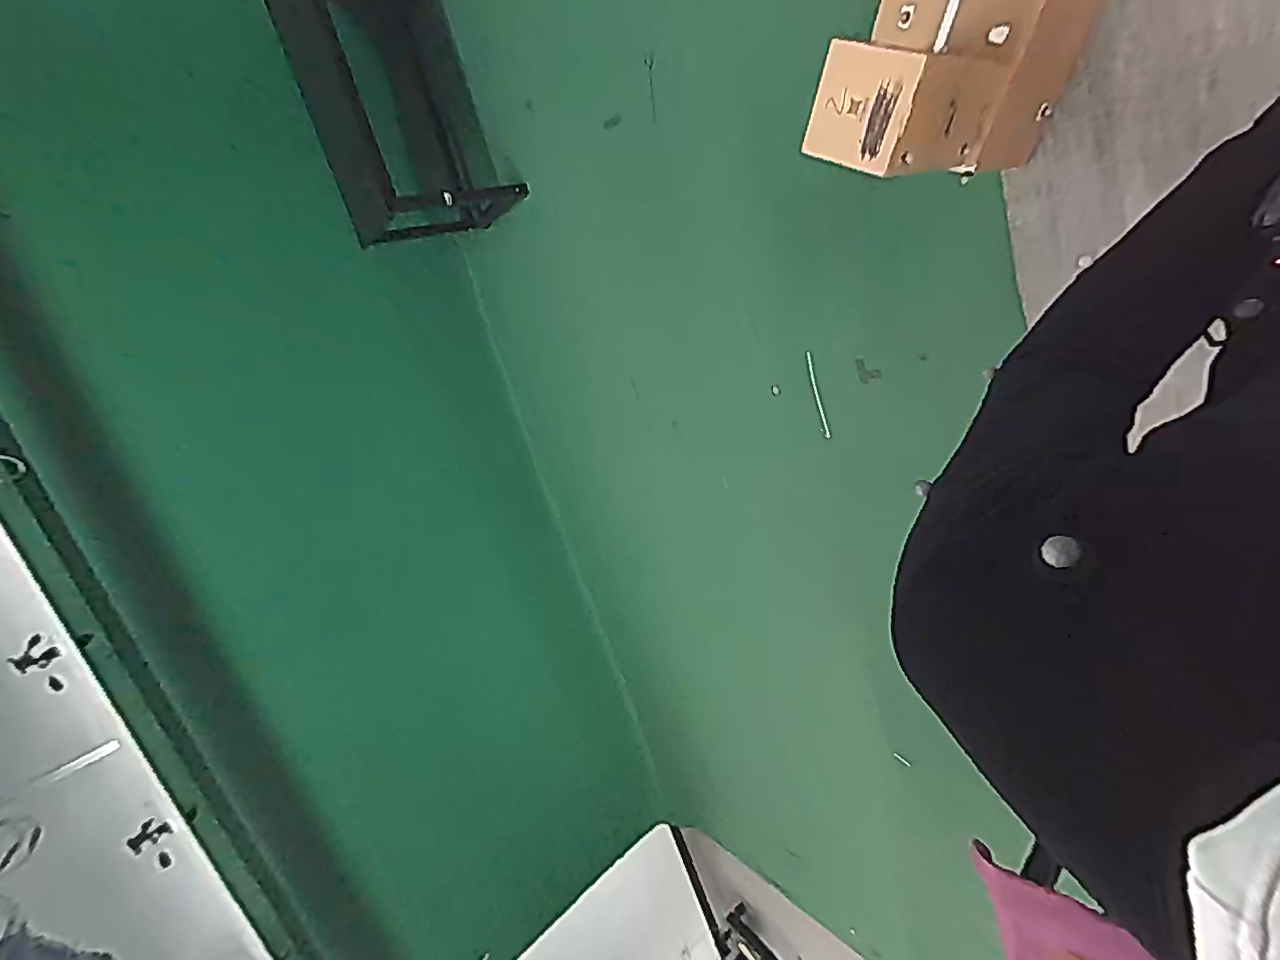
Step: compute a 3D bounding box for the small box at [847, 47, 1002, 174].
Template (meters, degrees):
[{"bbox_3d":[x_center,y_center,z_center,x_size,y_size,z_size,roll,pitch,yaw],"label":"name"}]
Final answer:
[{"bbox_3d":[0.541,-0.705,1.032,0.179,0.176,0.168,42,140,30],"label":"small box"}]
